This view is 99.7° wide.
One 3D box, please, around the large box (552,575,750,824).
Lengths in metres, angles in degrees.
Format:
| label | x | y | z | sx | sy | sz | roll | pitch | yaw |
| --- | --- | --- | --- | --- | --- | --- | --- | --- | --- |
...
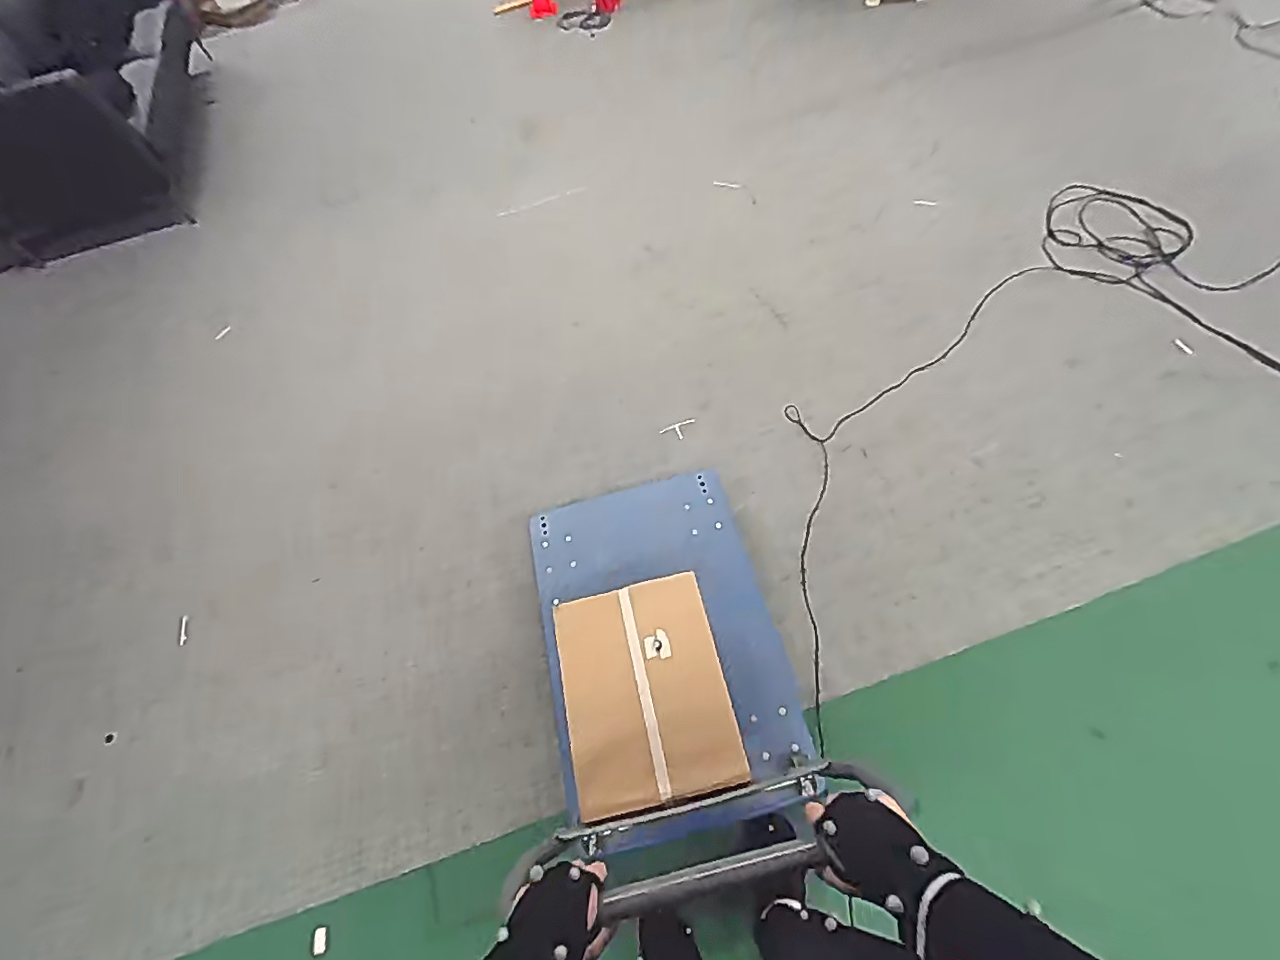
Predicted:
| label | x | y | z | sx | sy | sz | roll | pitch | yaw |
| --- | --- | --- | --- | --- | --- | --- | --- | --- | --- |
| large box | 0.023 | 0.480 | 1.181 | 0.320 | 0.320 | 0.408 | -14 | 58 | -2 |
